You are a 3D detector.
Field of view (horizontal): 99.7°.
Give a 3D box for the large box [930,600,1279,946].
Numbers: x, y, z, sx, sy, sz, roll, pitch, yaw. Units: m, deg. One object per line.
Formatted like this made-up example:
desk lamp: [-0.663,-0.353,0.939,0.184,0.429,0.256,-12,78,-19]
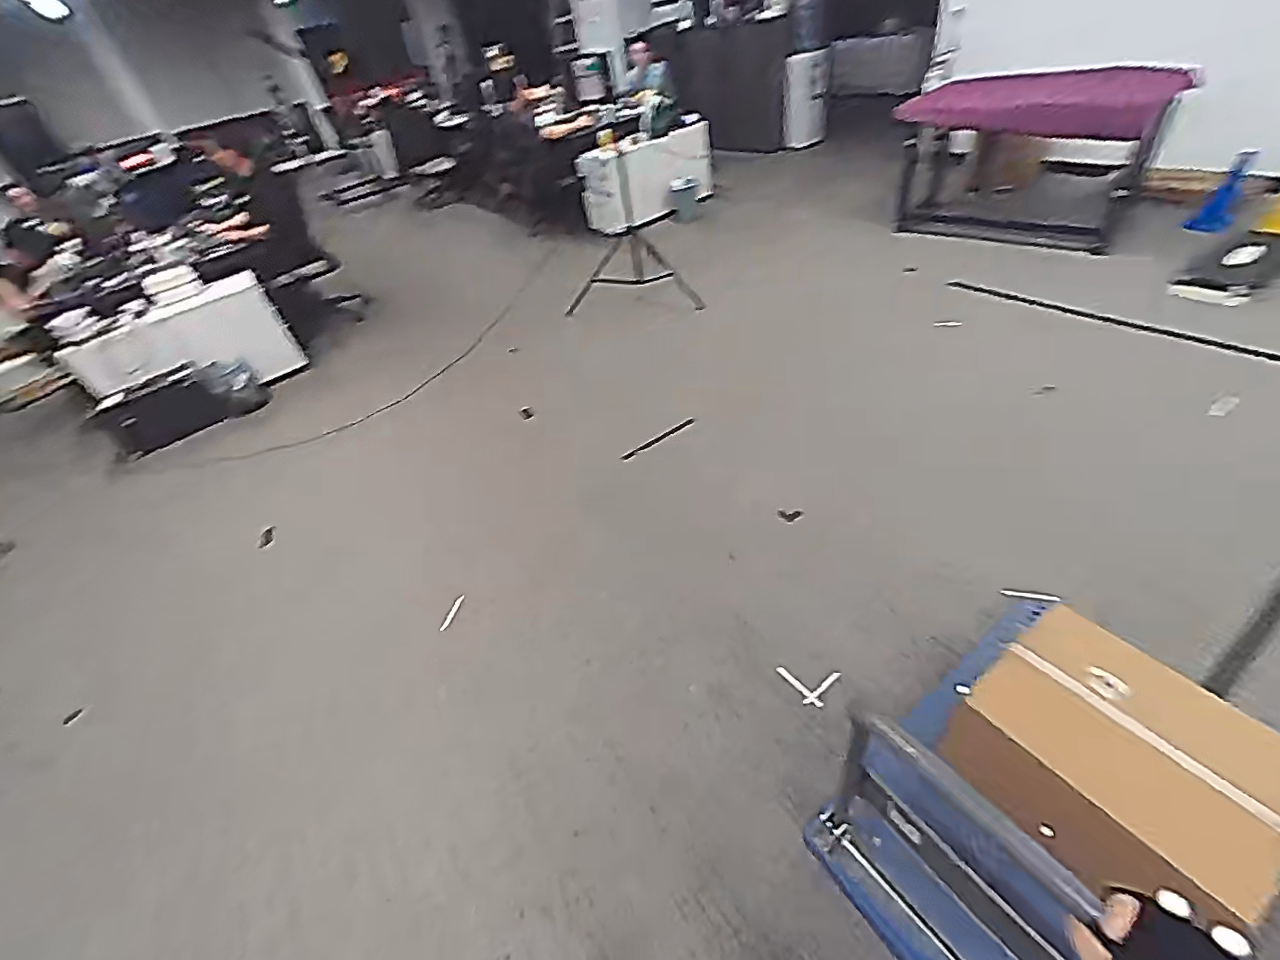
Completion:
large box: [0.829,0.513,0.991,0.320,0.320,0.408,-31,43,-20]
